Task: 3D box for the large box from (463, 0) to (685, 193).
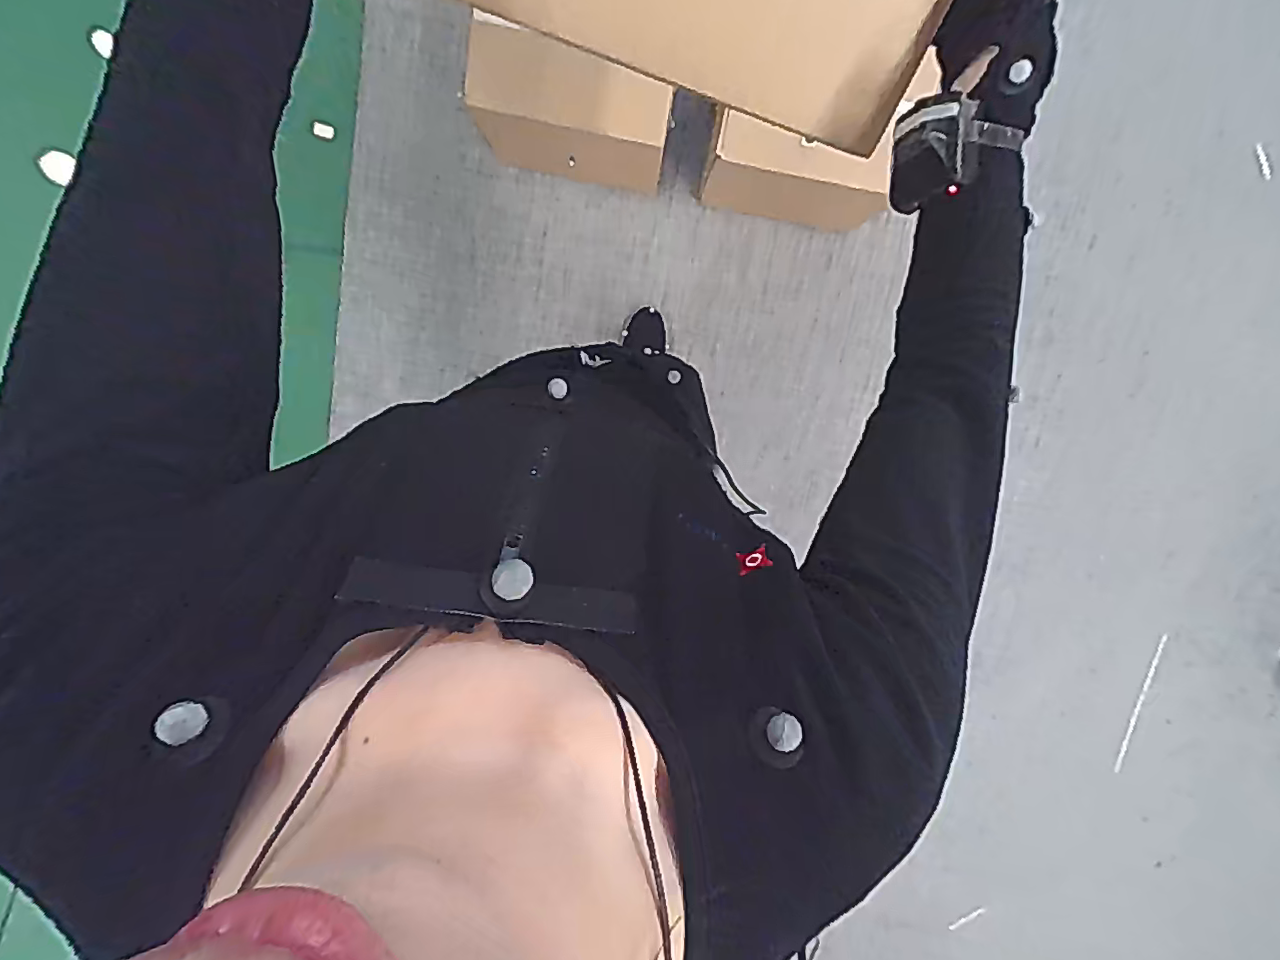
[{"bbox_3d":[-0.128,-0.875,1.192,0.408,0.320,0.320,11,100,-2],"label":"large box"}]
